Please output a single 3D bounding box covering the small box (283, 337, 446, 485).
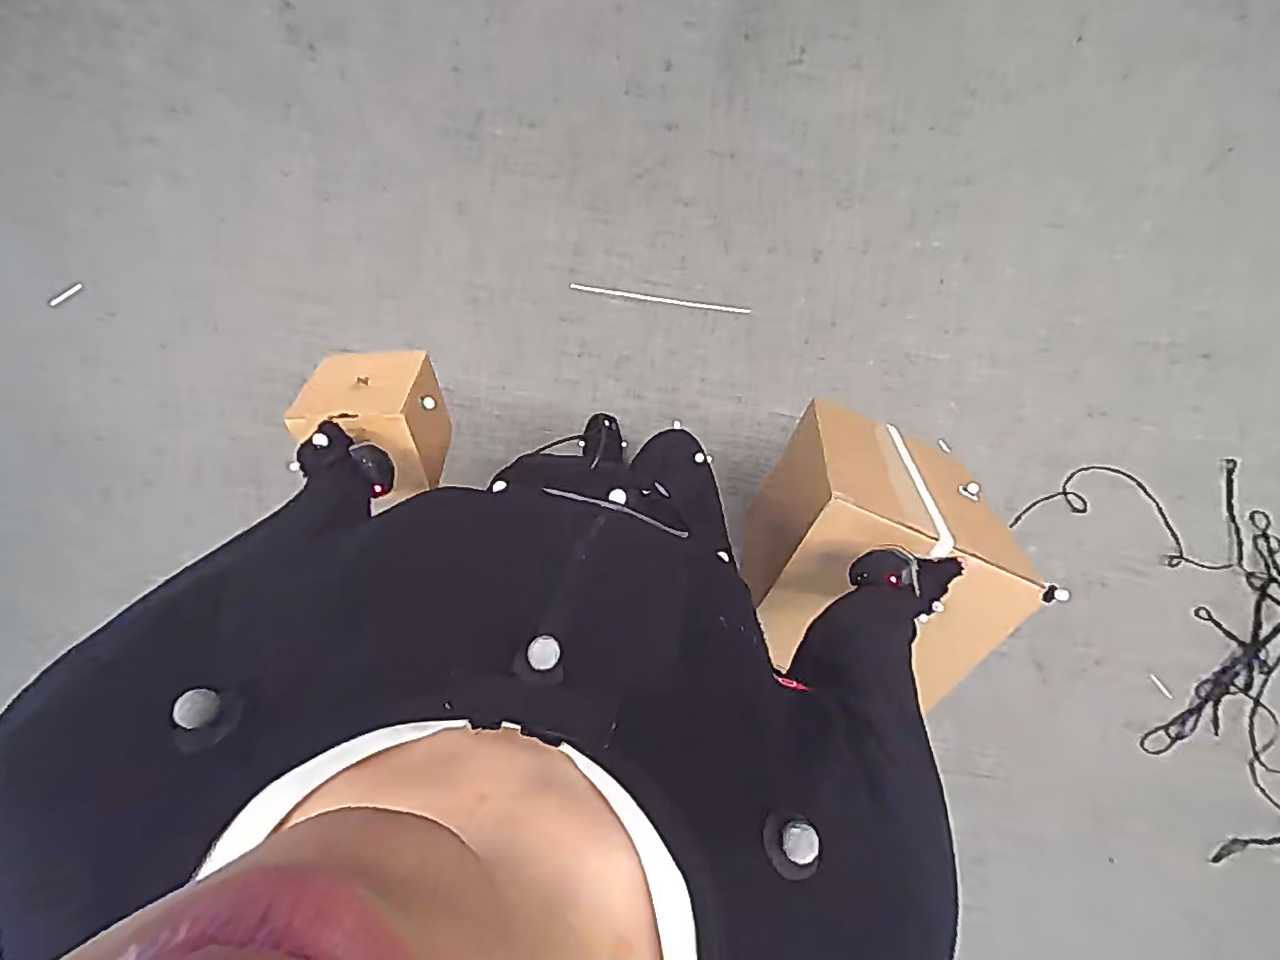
[{"bbox_3d":[-0.425,-0.111,0.874,0.168,0.179,0.176,-3,136,-3],"label":"small box"}]
